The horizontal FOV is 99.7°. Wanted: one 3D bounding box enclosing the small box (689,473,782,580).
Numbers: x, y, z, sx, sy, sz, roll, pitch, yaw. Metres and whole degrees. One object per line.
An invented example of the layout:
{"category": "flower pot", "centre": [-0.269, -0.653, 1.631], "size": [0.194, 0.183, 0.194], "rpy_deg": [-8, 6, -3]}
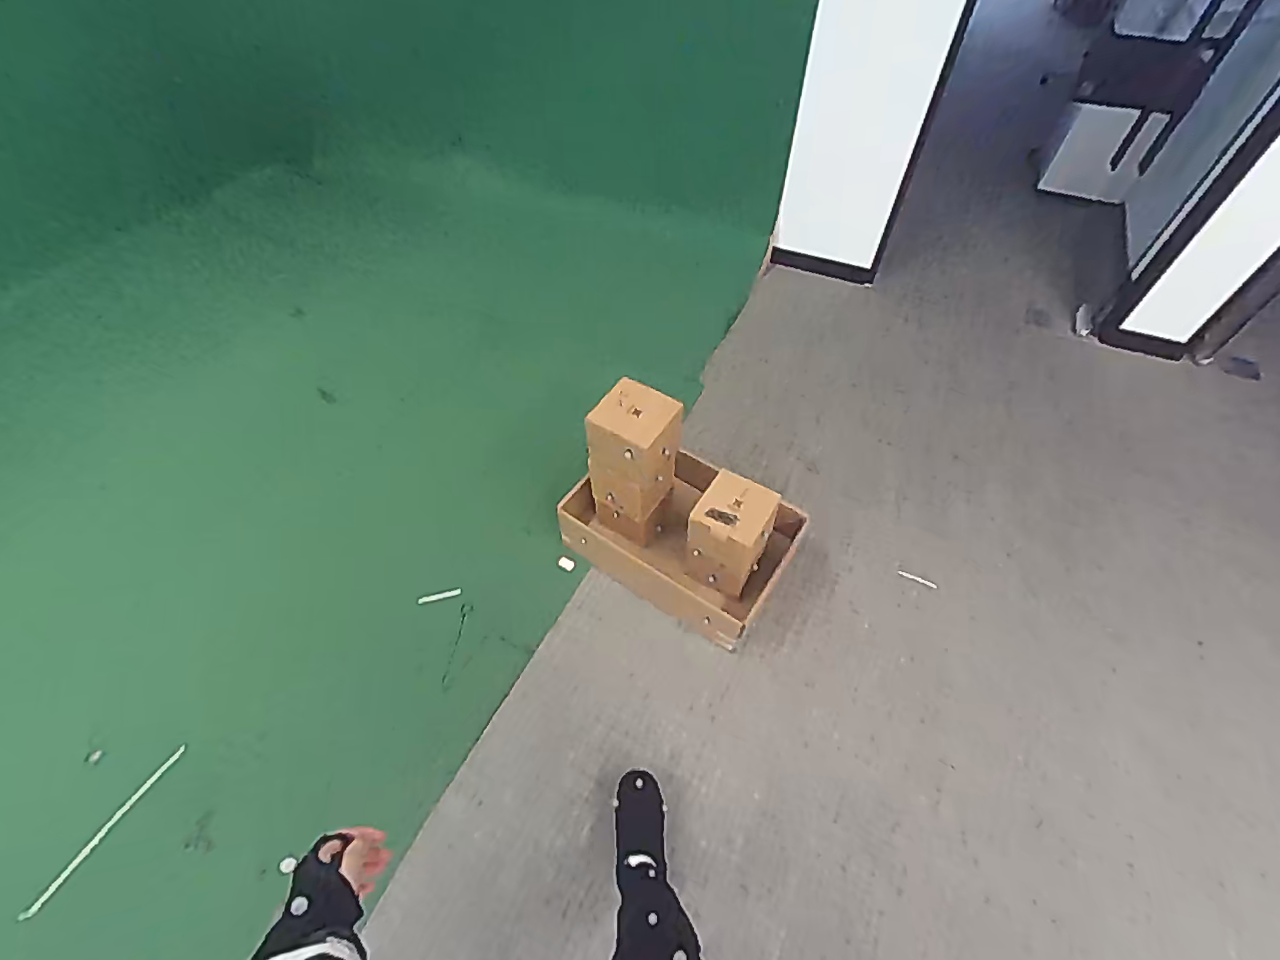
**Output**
{"category": "small box", "centre": [0.235, 0.122, 1.364], "size": [0.168, 0.176, 0.179], "rpy_deg": [27, 58, 21]}

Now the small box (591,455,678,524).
{"category": "small box", "centre": [-0.015, -0.015, 1.477], "size": [0.168, 0.176, 0.179], "rpy_deg": [29, 60, 20]}

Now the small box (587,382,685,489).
{"category": "small box", "centre": [-0.007, -0.103, 1.337], "size": [0.179, 0.176, 0.168], "rpy_deg": [28, 59, 19]}
